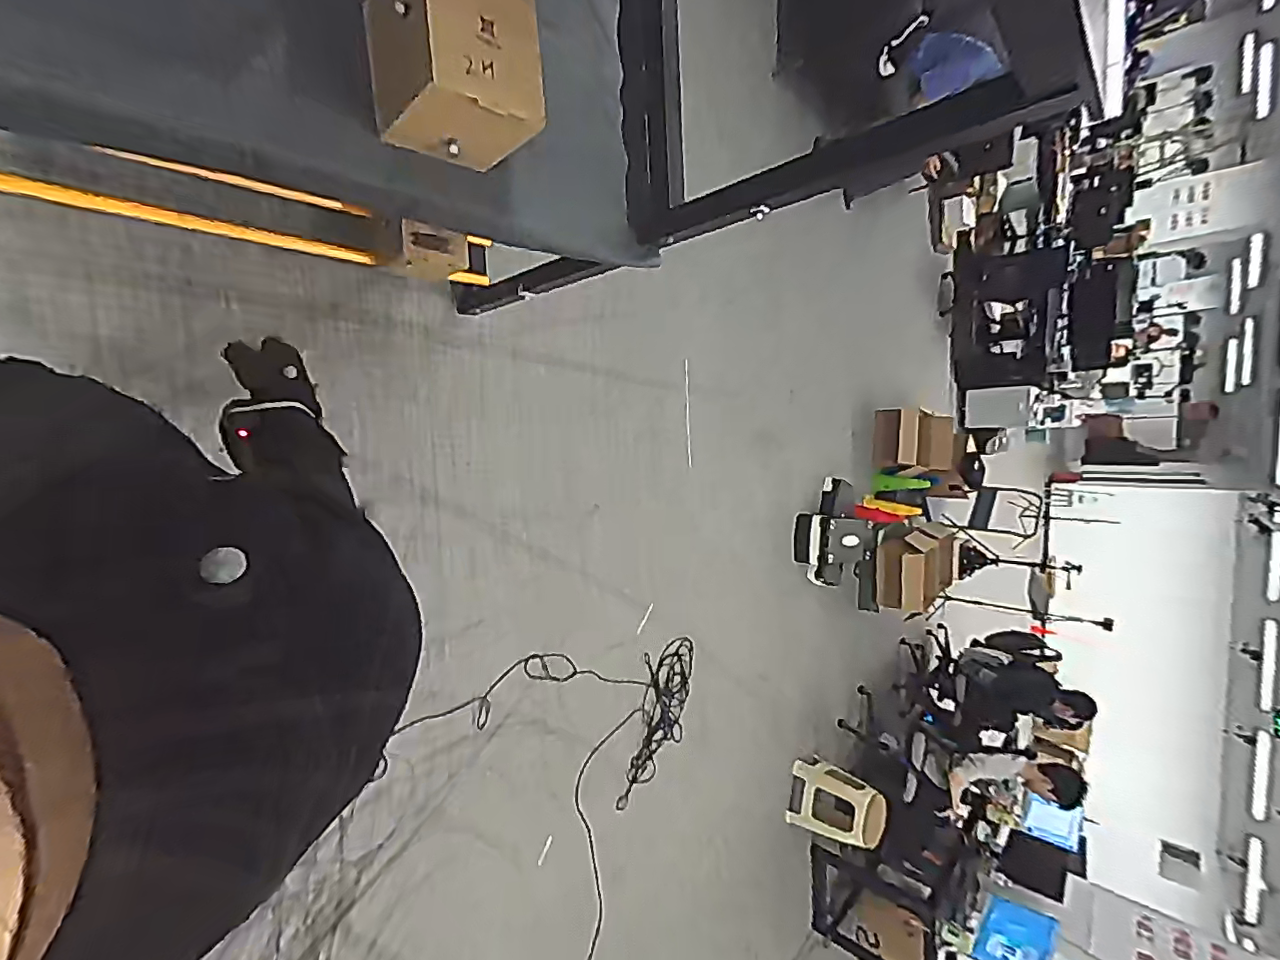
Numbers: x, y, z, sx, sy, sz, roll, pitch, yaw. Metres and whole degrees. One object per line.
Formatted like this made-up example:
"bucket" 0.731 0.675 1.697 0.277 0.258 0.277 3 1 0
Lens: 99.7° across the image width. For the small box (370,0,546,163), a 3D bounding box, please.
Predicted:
"small box" -0.251 -0.577 0.742 0.168 0.176 0.179 -10 99 -45
